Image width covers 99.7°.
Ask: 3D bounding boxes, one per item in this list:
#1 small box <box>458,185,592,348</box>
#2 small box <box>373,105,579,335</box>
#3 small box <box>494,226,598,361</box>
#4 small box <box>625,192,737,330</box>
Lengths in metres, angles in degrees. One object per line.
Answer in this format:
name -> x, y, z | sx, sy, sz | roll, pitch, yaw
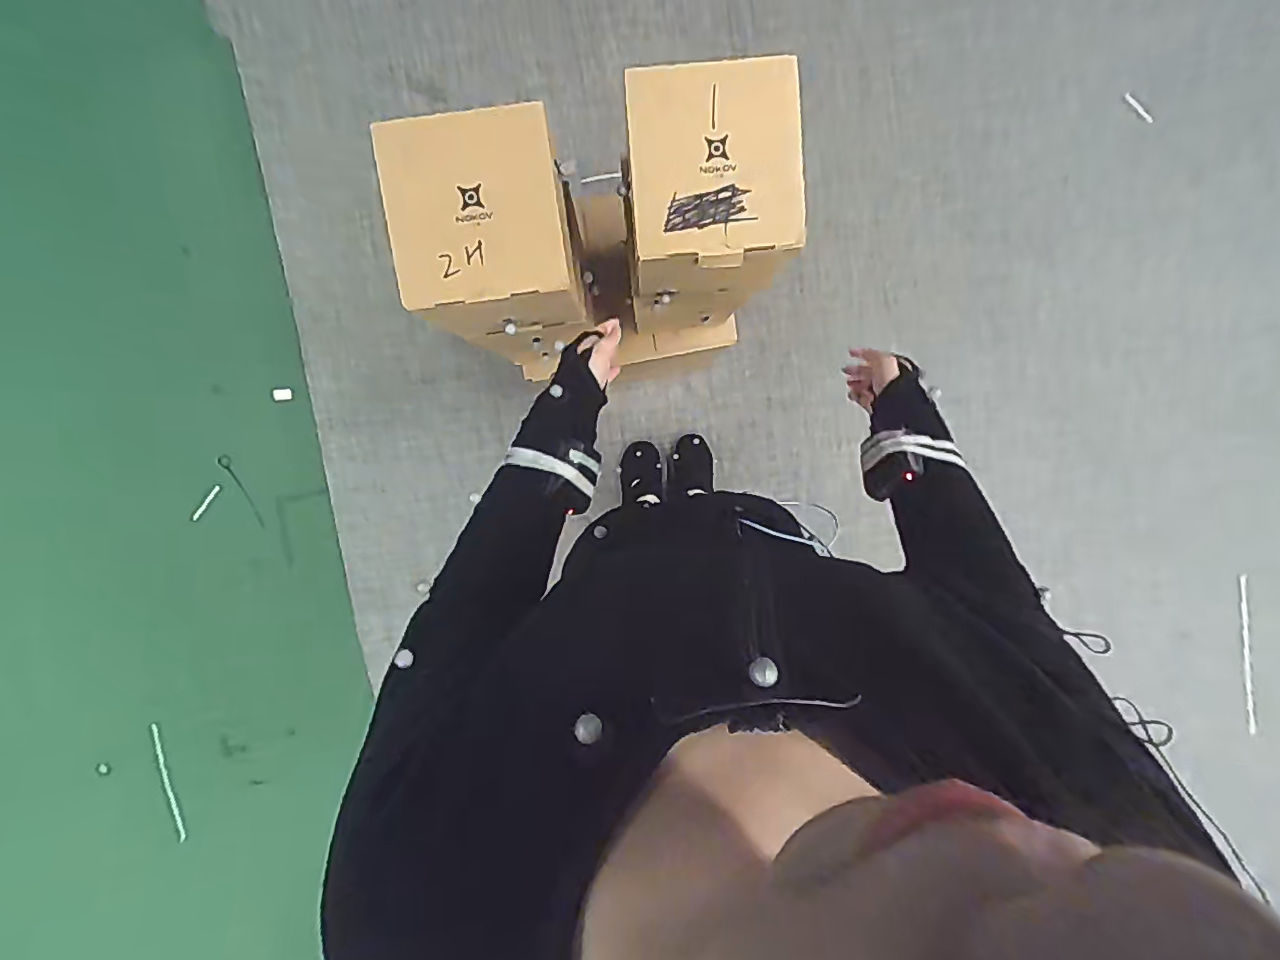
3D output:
small box -> -0.163, -0.286, 0.762 | 0.168, 0.176, 0.179 | -7, 97, 0
small box -> -0.164, -0.269, 0.597 | 0.168, 0.176, 0.179 | -7, 97, 0
small box -> -0.166, -0.309, 0.925 | 0.168, 0.176, 0.179 | -9, 97, 0
small box -> 0.067, -0.357, 0.919 | 0.168, 0.176, 0.179 | -6, 95, 1
